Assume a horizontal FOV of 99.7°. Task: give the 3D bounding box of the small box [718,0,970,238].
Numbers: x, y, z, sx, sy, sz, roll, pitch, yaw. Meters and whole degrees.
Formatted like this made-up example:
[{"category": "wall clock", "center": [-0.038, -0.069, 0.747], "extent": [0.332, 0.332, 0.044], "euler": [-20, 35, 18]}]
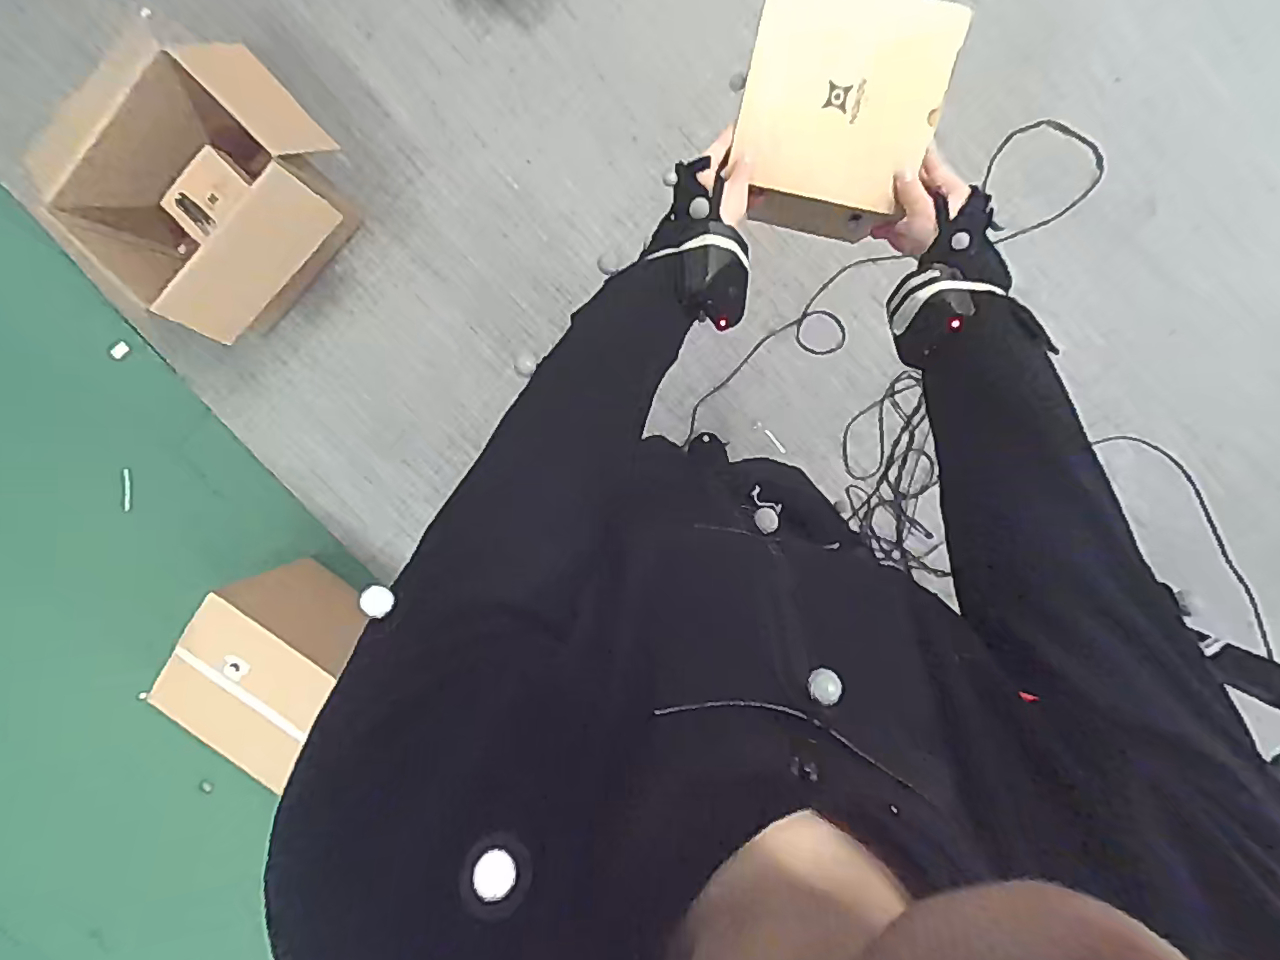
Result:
[{"category": "small box", "center": [0.183, -0.358, 0.552], "extent": [0.179, 0.176, 0.168], "euler": [12, 107, 1]}]
